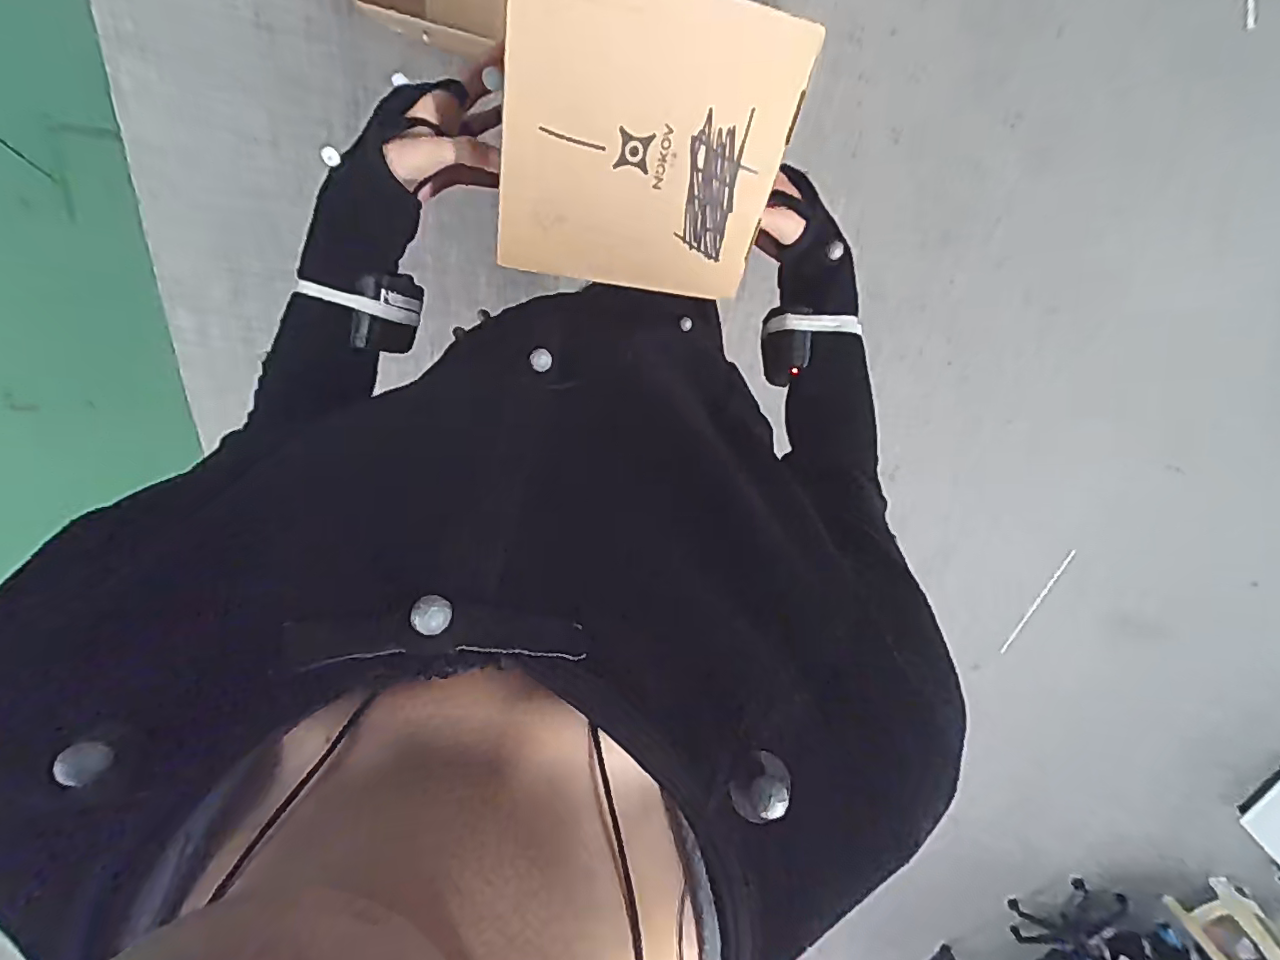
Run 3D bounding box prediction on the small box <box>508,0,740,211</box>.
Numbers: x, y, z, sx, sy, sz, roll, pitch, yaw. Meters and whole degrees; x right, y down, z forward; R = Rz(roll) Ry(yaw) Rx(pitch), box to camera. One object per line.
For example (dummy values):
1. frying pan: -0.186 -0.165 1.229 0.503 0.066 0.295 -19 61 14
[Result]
1. small box: -0.028 -0.377 0.508 0.179 0.176 0.168 3 133 -12
